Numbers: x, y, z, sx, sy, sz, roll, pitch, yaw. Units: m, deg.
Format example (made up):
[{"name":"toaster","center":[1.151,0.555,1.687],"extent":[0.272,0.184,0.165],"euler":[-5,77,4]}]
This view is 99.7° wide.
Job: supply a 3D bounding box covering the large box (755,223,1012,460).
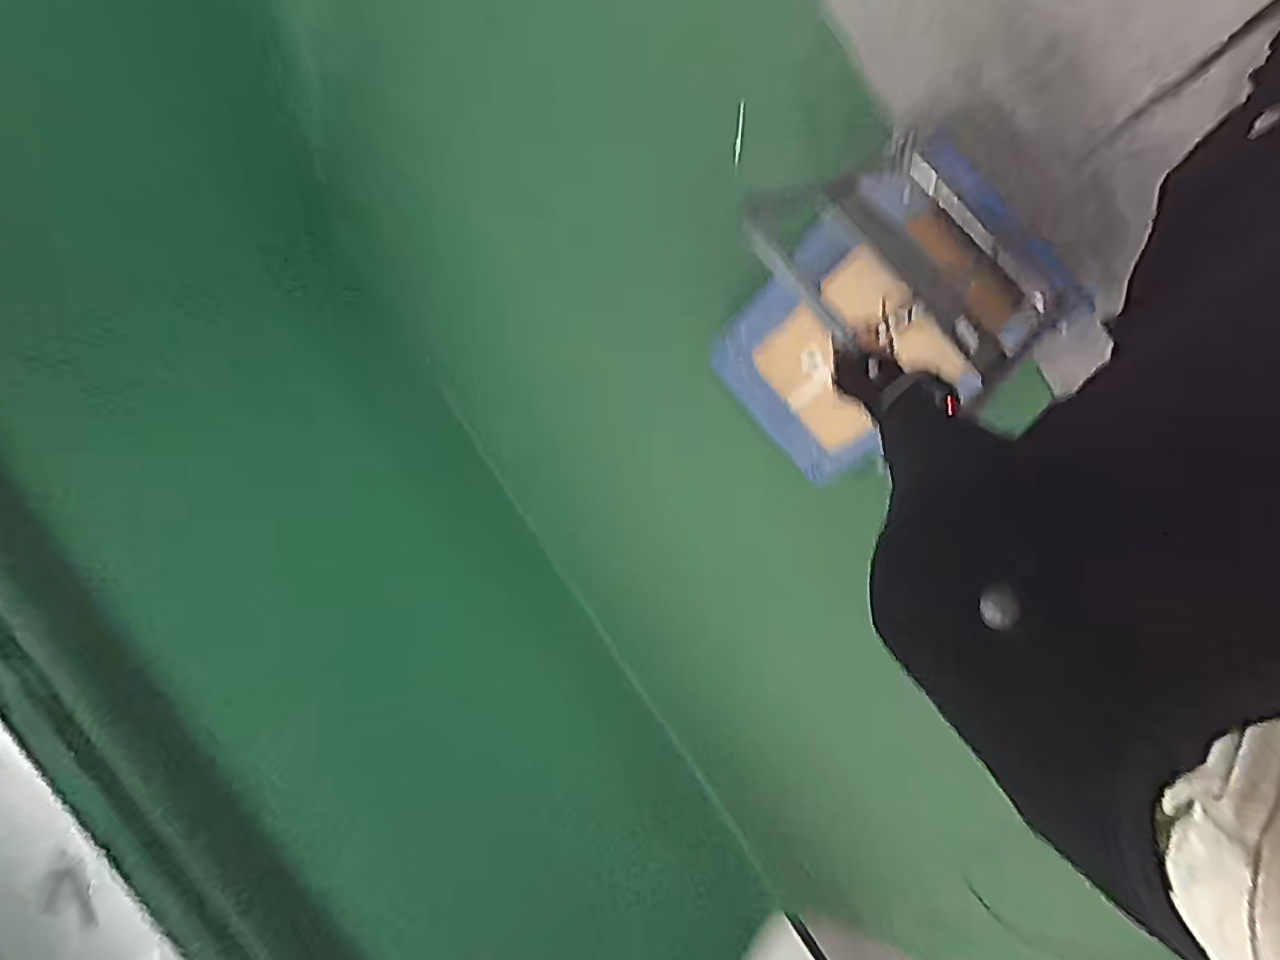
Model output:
[{"name":"large box","center":[0.564,-0.320,1.290],"extent":[0.320,0.320,0.408],"euler":[51,144,5]}]
